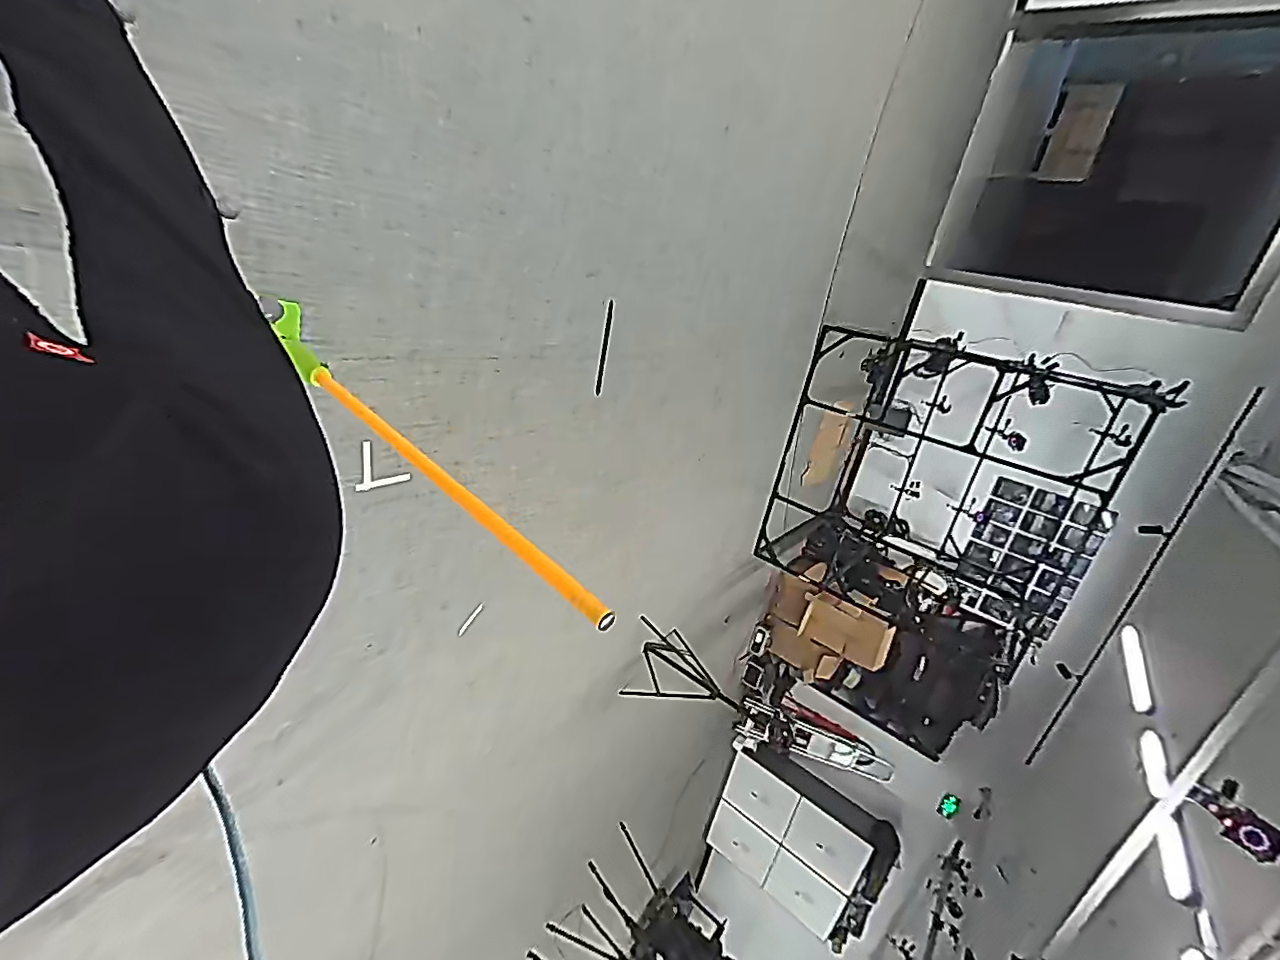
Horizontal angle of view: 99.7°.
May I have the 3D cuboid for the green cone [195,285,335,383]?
[{"bbox_3d":[-0.775,-0.275,1.168,0.202,0.368,0.200,-11,121,-54],"label":"green cone"}]
